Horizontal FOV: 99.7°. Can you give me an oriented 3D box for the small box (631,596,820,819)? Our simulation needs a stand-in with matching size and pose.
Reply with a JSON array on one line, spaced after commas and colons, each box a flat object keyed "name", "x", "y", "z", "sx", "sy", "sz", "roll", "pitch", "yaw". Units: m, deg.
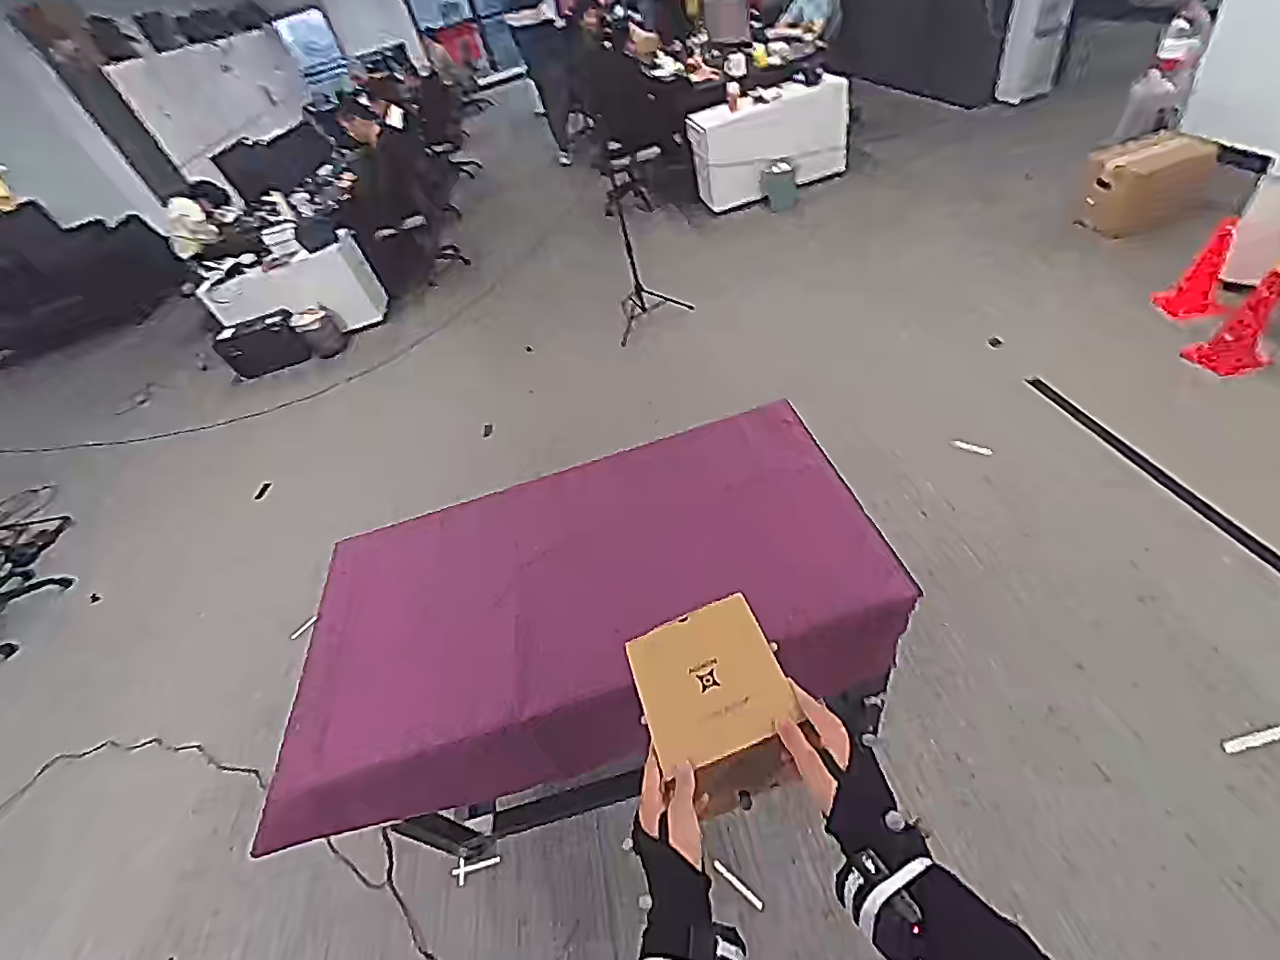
[{"name": "small box", "x": 0.106, "y": 0.285, "z": 0.677, "sx": 0.168, "sy": 0.176, "sz": 0.179, "roll": -24, "pitch": 41, "yaw": 1}]
